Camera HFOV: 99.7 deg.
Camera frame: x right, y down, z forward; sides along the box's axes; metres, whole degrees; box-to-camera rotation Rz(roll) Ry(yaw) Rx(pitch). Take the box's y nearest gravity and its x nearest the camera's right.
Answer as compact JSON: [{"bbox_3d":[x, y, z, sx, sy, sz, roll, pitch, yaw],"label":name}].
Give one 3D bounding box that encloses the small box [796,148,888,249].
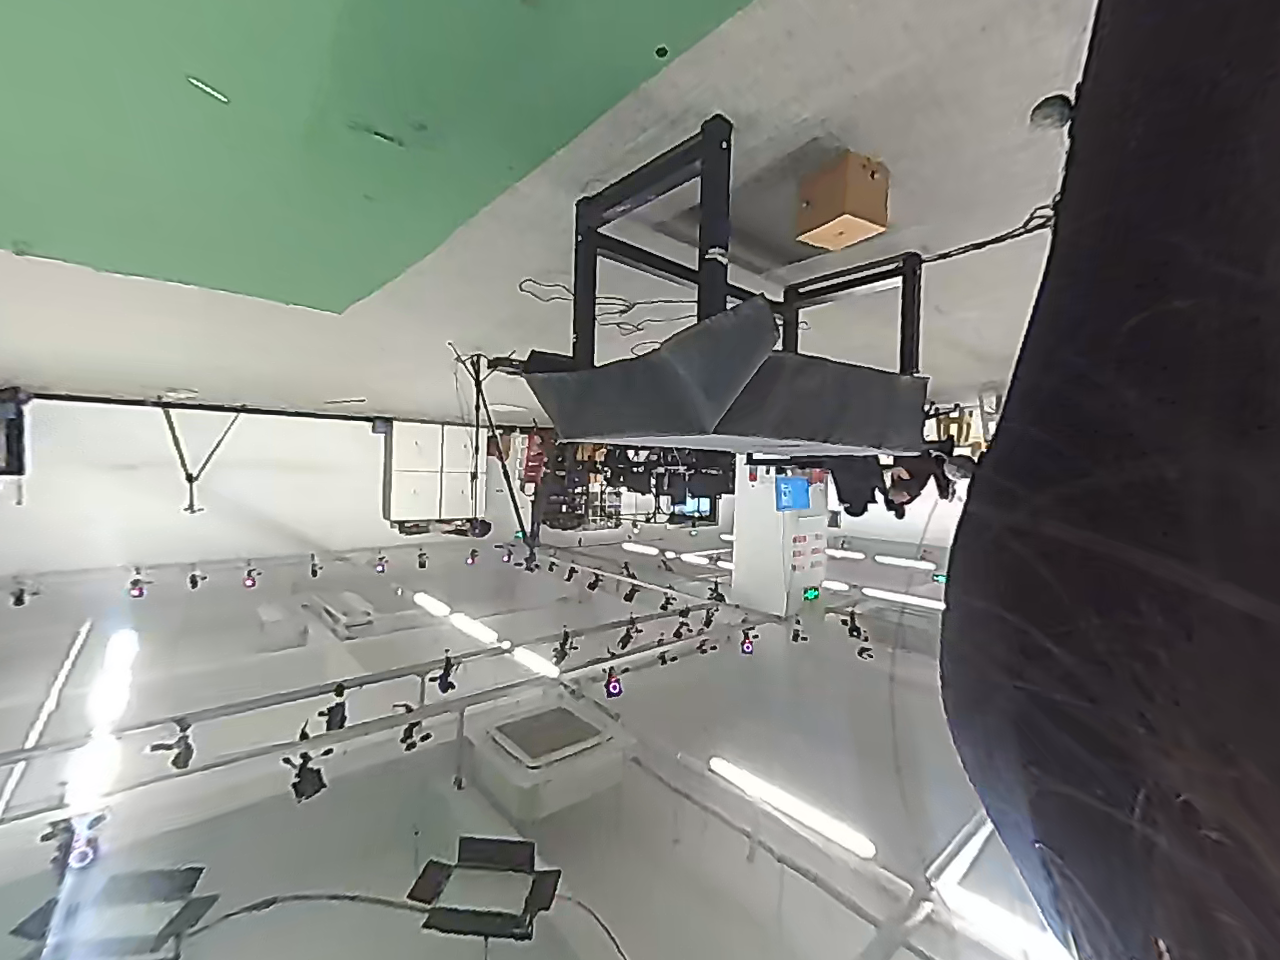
[{"bbox_3d":[0.547,-0.755,1.463,0.168,0.176,0.179,0,-177,-29],"label":"small box"}]
